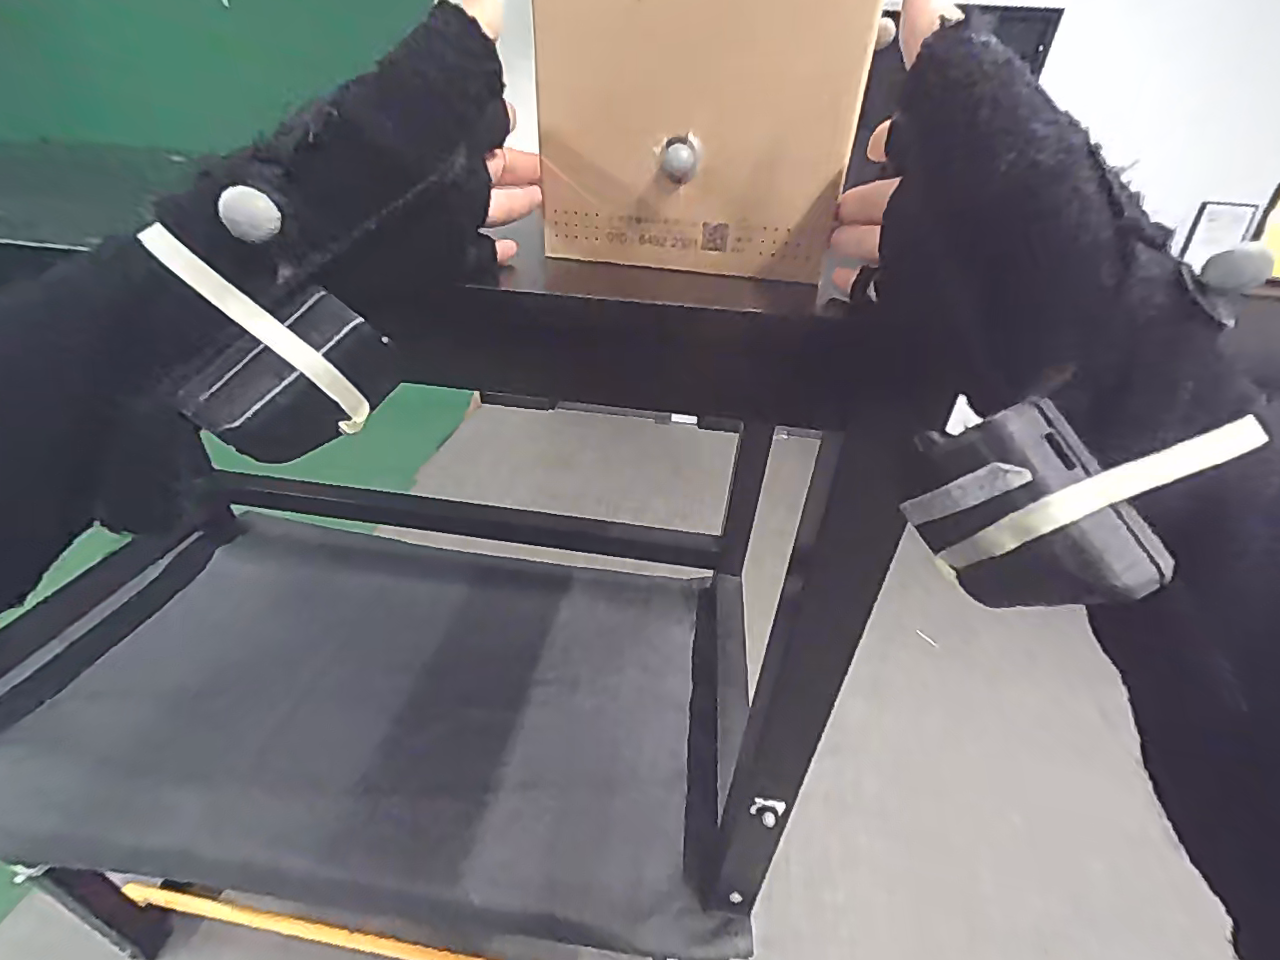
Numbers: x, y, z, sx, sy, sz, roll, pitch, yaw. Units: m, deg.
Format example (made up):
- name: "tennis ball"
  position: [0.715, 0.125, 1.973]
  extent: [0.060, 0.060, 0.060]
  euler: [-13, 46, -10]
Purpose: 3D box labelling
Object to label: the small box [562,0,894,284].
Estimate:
- name: "small box"
  position: [0.053, -0.234, 0.342]
  extent: [0.168, 0.176, 0.179]
  euler: [10, 33, 12]
